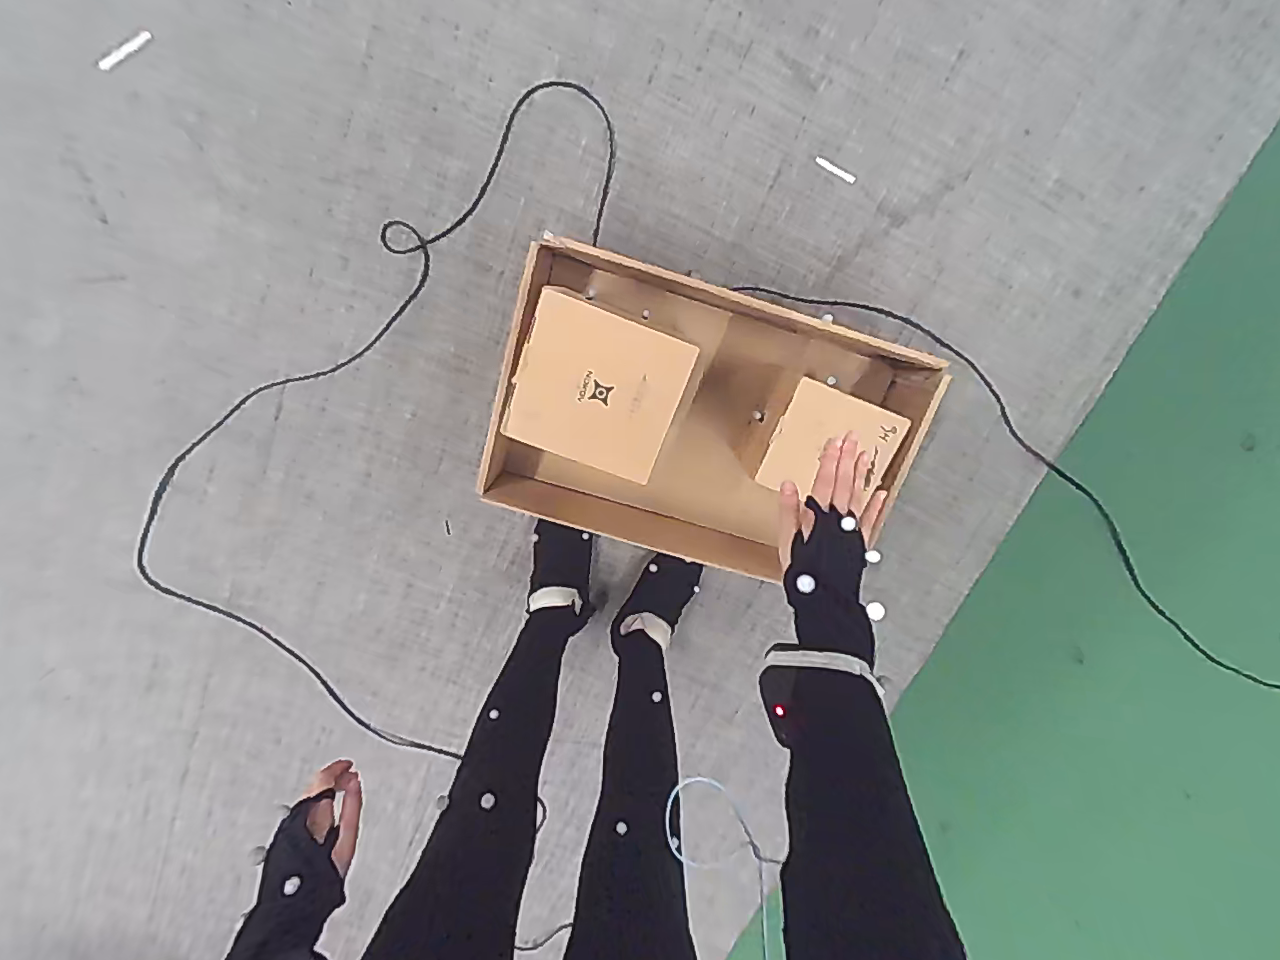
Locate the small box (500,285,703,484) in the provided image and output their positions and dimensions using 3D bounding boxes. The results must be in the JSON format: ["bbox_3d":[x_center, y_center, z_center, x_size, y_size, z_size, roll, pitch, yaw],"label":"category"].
[{"bbox_3d":[-0.045,-0.119,0.655,0.179,0.176,0.168,21,107,-8],"label":"small box"}]

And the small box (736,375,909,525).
[{"bbox_3d":[0.268,-0.057,0.846,0.179,0.176,0.168,22,105,-6],"label":"small box"}]
